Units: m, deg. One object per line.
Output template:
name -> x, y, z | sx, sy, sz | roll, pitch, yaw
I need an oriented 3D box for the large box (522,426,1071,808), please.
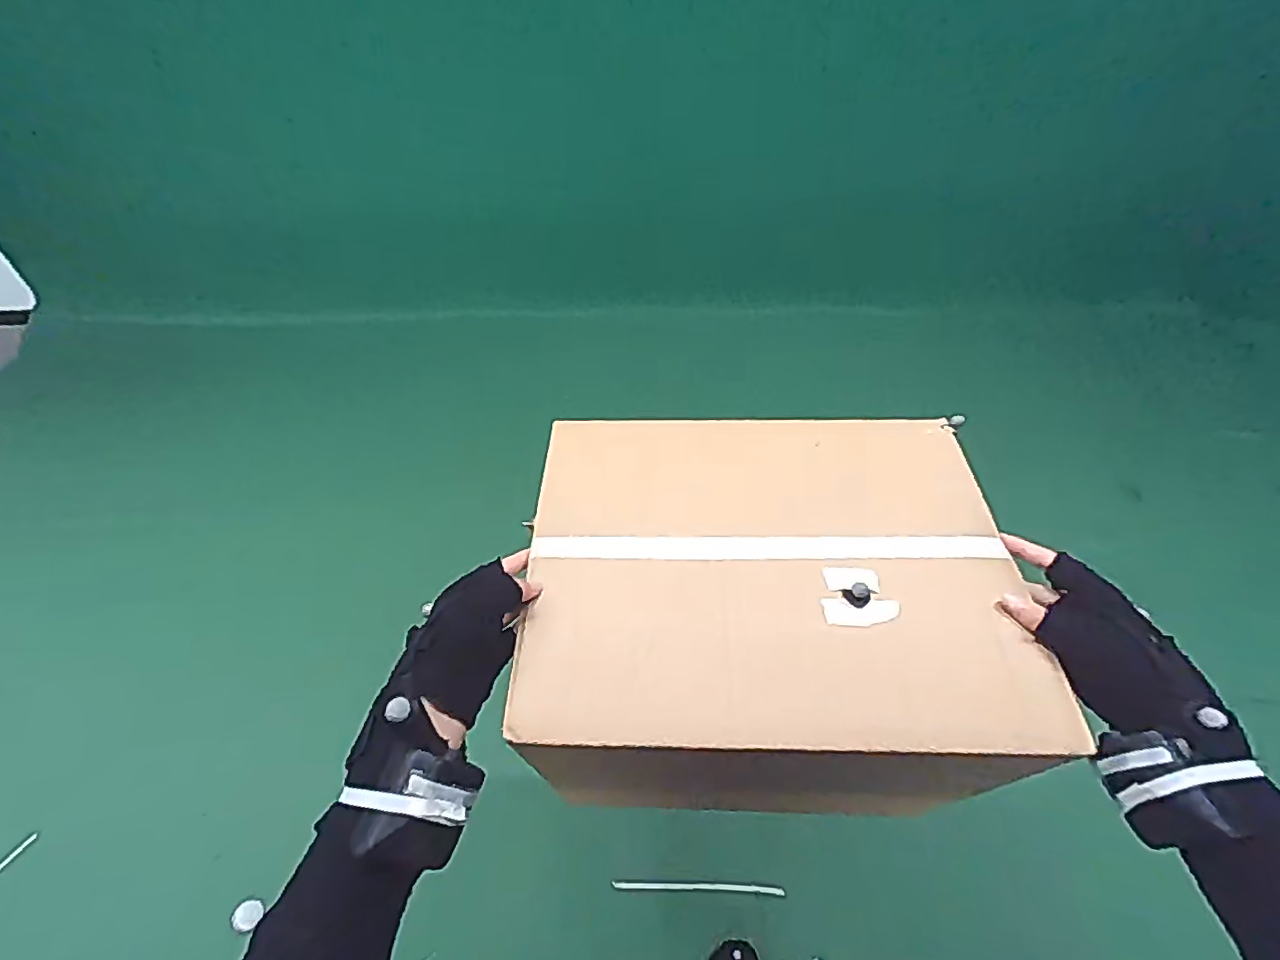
large box -> 0.115, 0.160, 0.595 | 0.408, 0.320, 0.320 | -1, 52, 3
